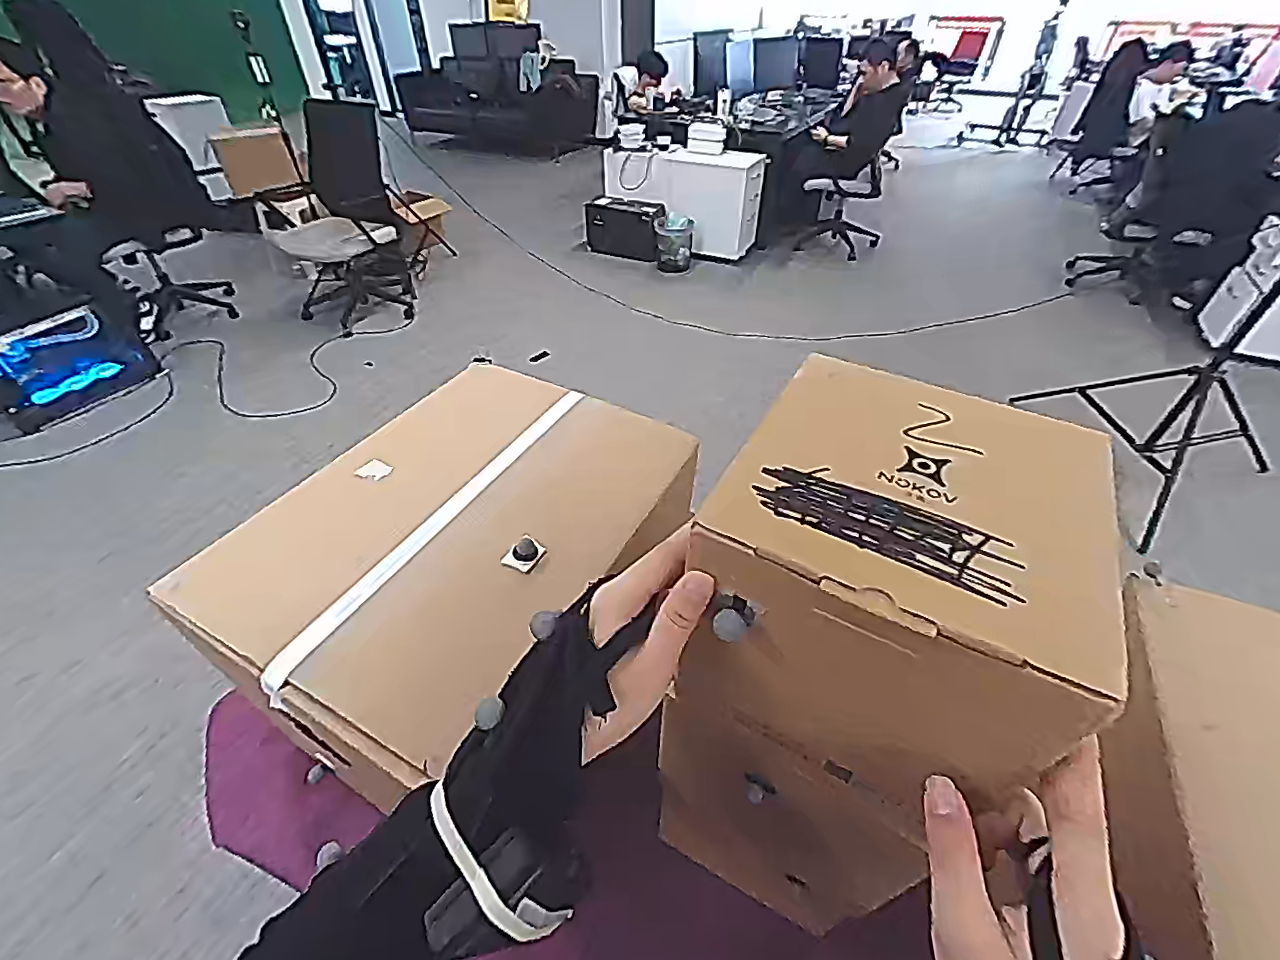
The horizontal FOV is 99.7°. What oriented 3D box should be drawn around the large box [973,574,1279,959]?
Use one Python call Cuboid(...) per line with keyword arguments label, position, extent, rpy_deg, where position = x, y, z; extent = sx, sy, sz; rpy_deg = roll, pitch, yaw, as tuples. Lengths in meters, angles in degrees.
Cuboid(label="large box", position=(0.457, 0.351, 0.376), extent=(0.320, 0.320, 0.408), rpy_deg=(19, 44, 19))
